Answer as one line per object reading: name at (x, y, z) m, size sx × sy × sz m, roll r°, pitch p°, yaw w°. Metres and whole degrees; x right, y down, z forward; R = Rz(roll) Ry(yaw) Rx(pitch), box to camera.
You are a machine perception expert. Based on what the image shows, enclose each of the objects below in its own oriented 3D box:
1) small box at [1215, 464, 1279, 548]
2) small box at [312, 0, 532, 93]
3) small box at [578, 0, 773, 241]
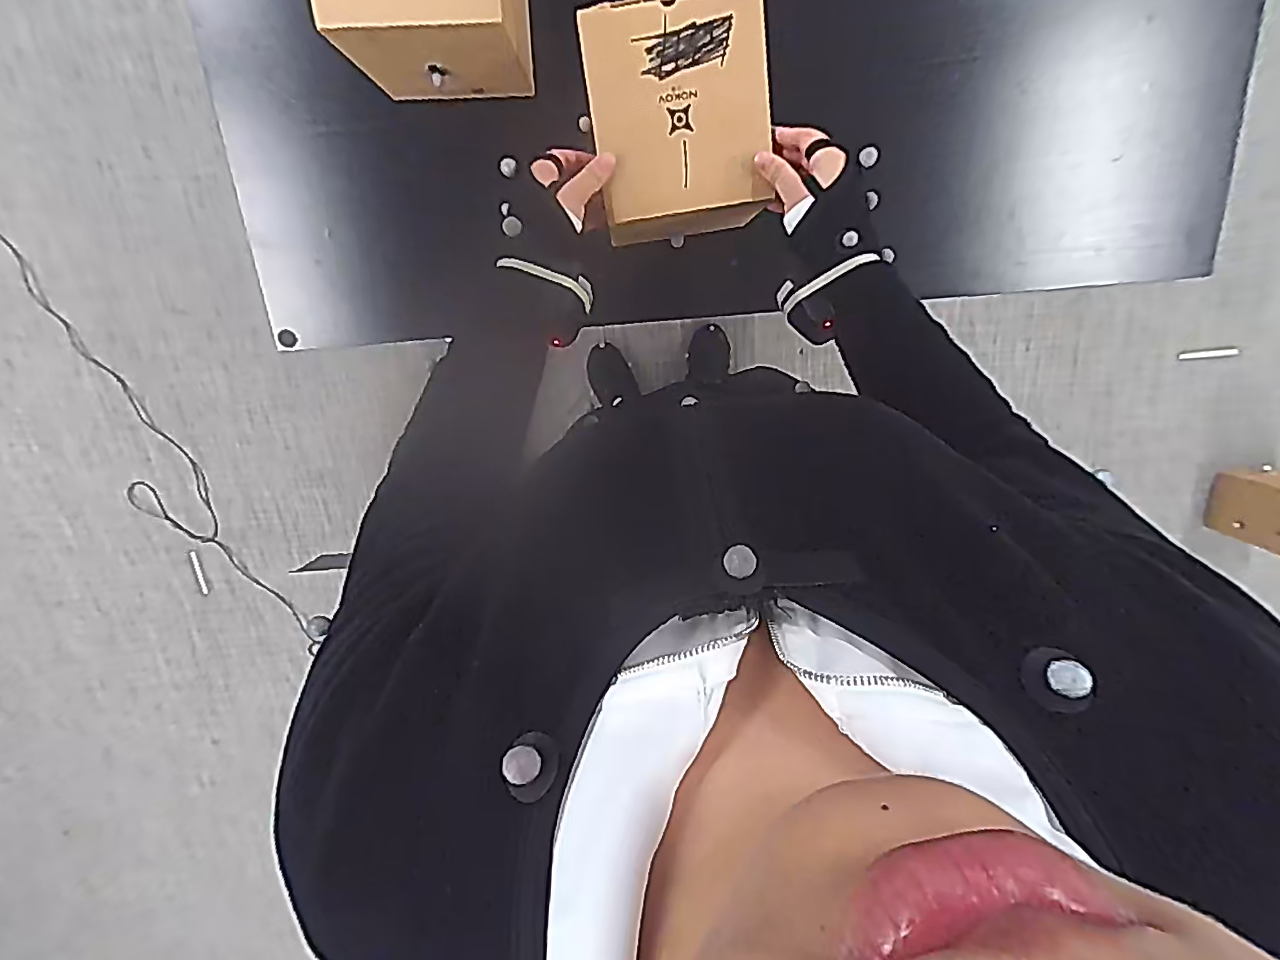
small box at (1.728, 0.066, 1.460) m, size 0.168 × 0.176 × 0.179 m, roll -5°, pitch 106°, yaw 1°
small box at (-0.207, -0.506, 0.530) m, size 0.168 × 0.176 × 0.179 m, roll -2°, pitch 106°, yaw 0°
small box at (0.035, -0.367, 0.571) m, size 0.168 × 0.176 × 0.179 m, roll -8°, pitch 107°, yaw 3°
